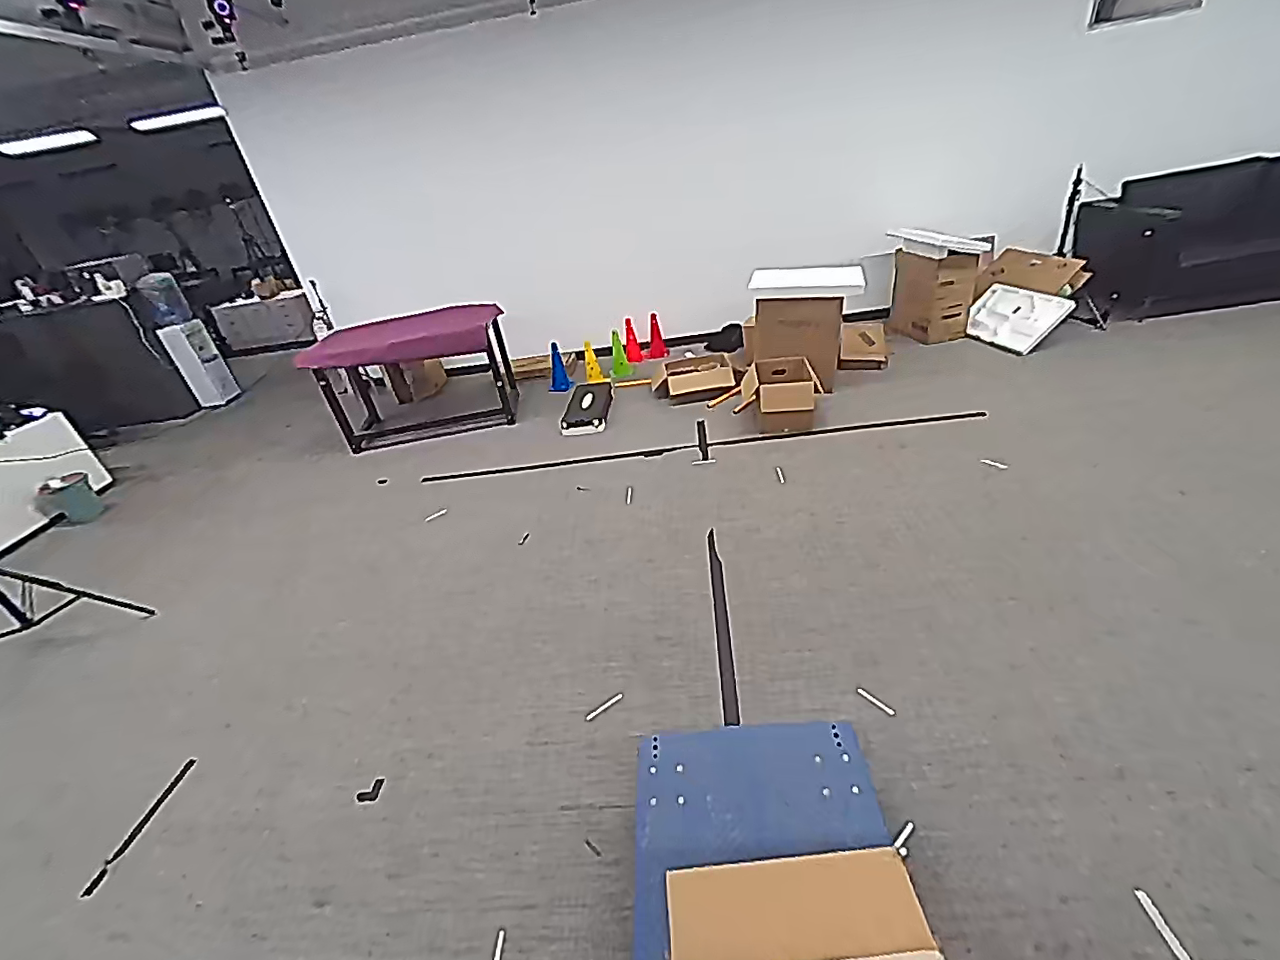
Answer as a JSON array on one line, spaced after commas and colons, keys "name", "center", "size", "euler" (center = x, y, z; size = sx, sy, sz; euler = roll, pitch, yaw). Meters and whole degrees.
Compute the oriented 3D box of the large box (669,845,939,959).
[{"name": "large box", "center": [0.271, 0.871, 0.896], "size": [0.408, 0.320, 0.320], "euler": [-7, 32, 2]}]
